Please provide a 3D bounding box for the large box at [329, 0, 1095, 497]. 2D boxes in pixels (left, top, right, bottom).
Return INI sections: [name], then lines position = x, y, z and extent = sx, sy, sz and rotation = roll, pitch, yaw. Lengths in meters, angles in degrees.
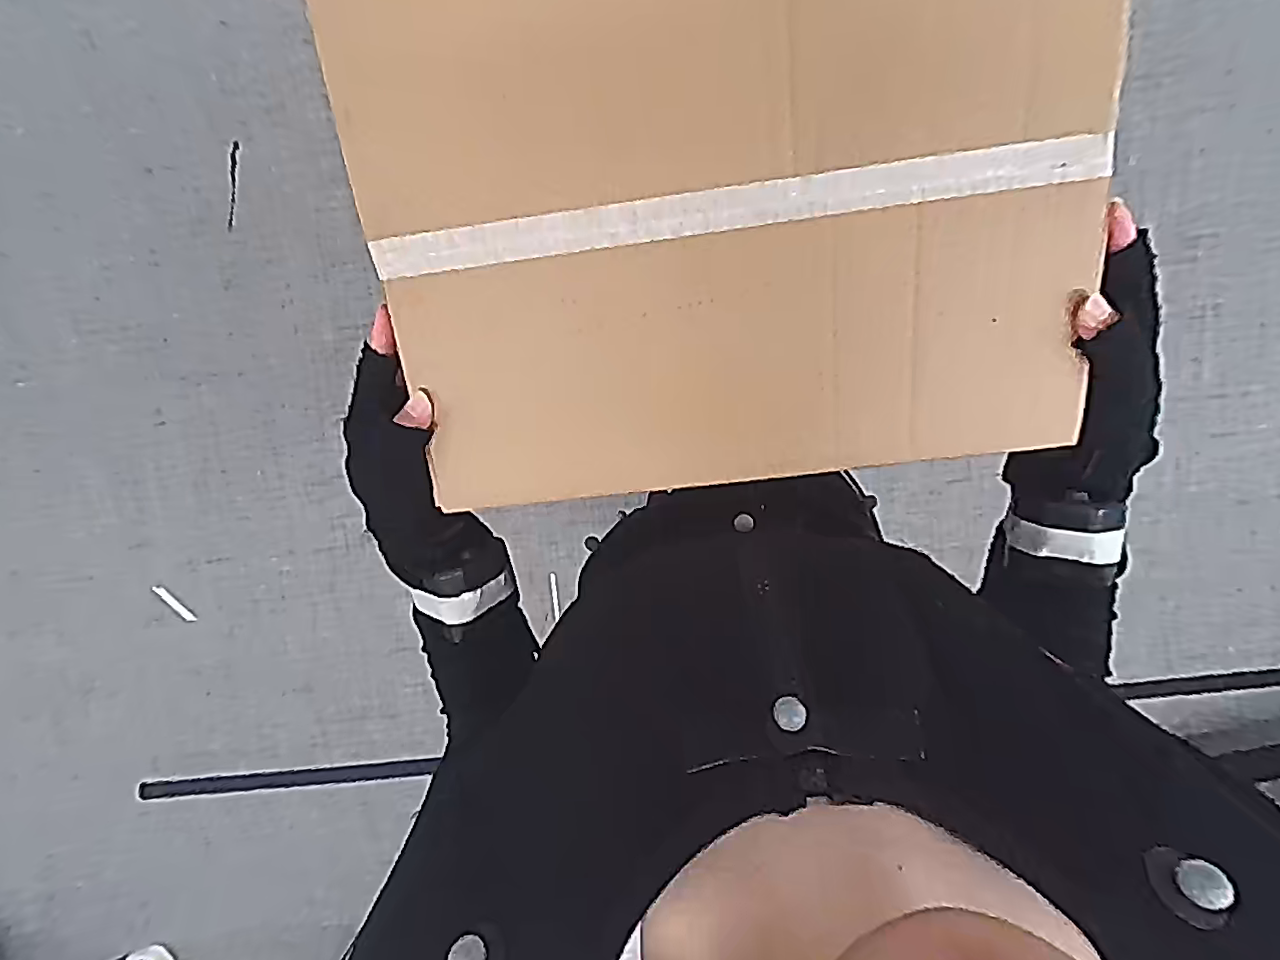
[large box]
position = 0.050, -0.199, 0.455
extent = 0.408, 0.320, 0.320
rotation = -7, 107, 3
